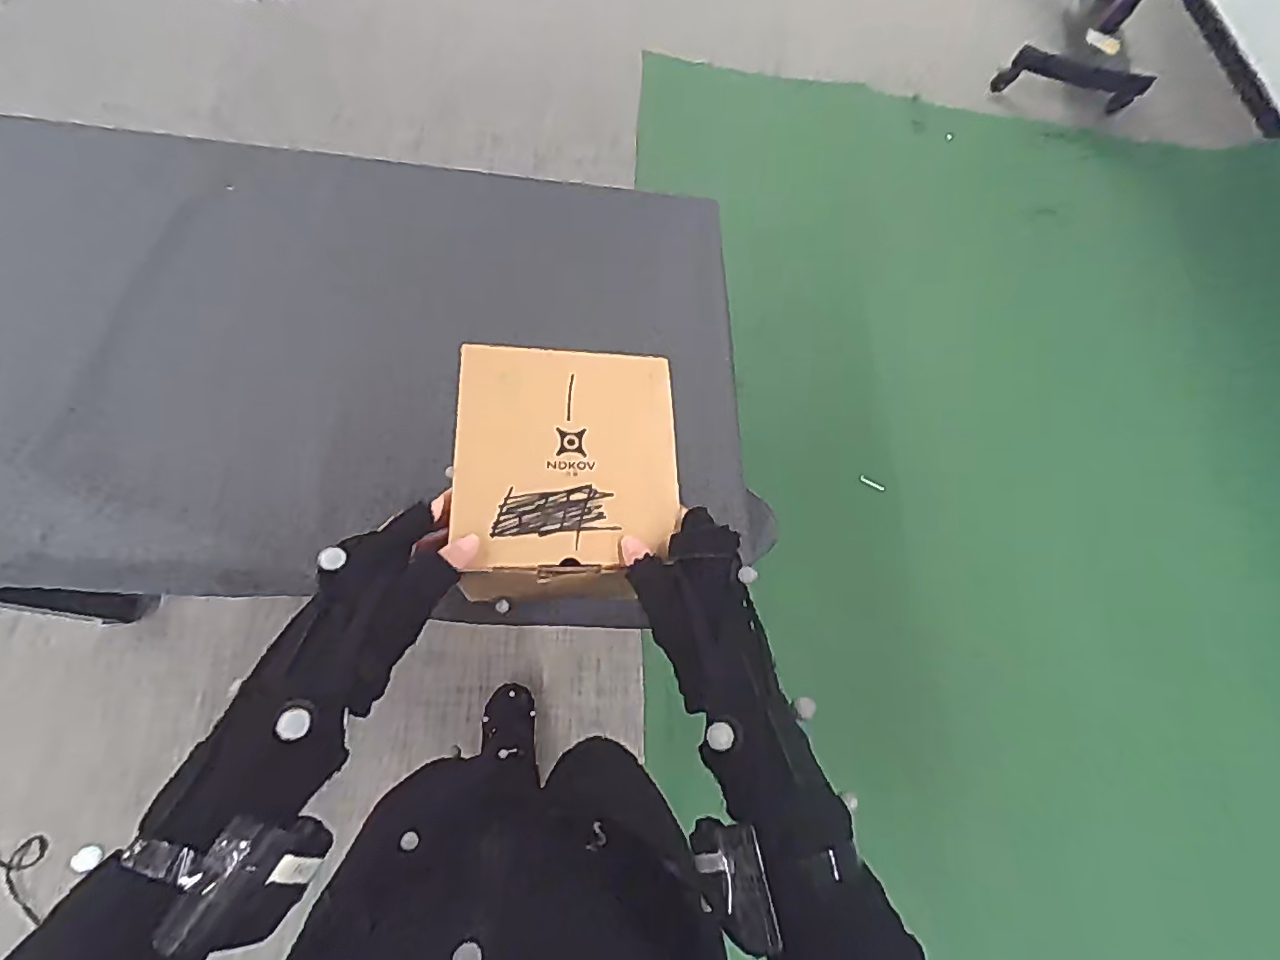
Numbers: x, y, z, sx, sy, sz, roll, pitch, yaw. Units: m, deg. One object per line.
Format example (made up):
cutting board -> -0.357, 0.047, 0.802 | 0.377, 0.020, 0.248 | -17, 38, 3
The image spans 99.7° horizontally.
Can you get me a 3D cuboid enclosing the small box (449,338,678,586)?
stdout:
small box -> -0.067, -0.001, 0.483 | 0.168, 0.176, 0.179 | 1, 70, -11
